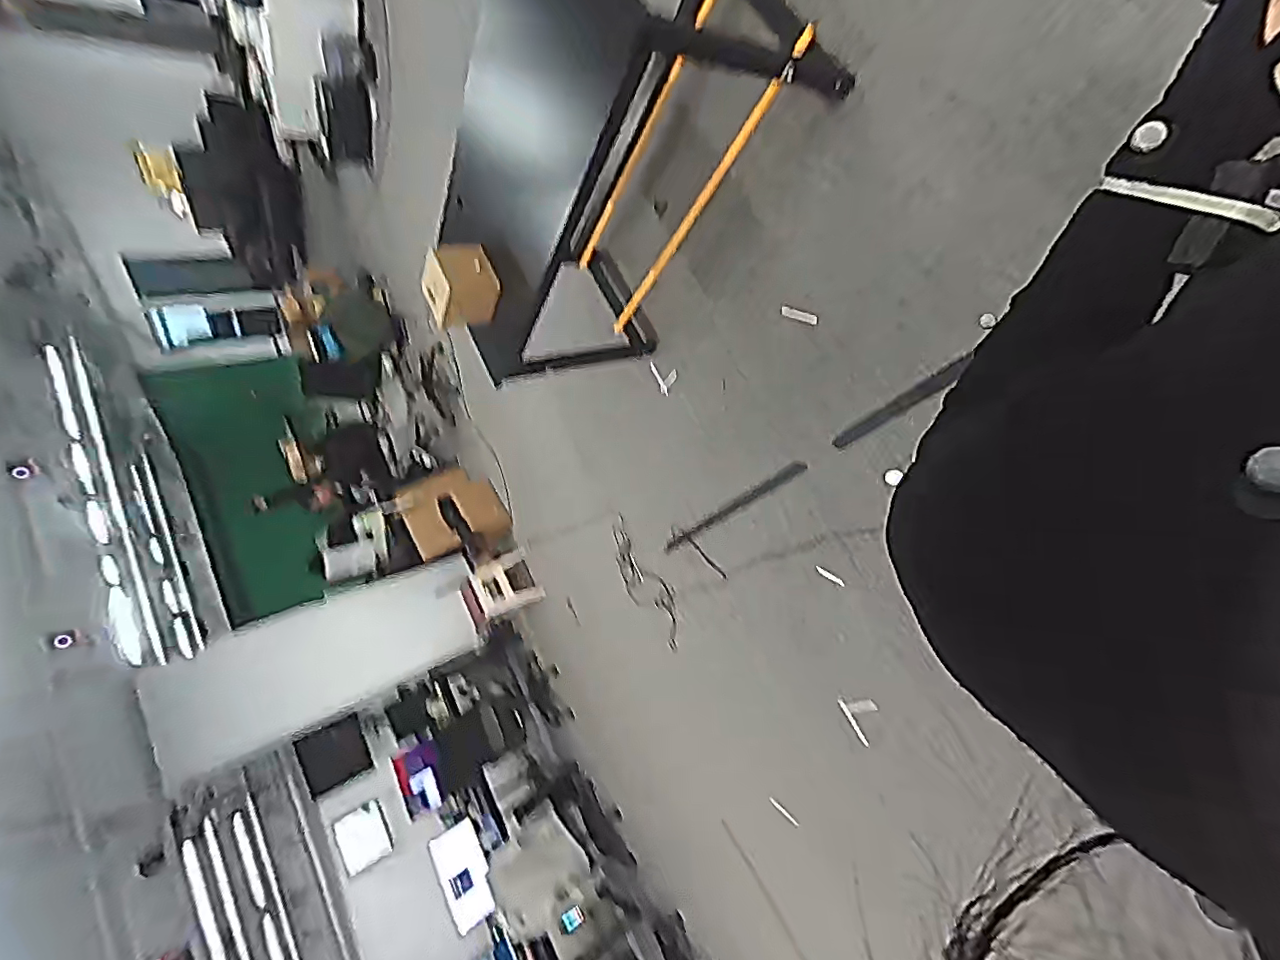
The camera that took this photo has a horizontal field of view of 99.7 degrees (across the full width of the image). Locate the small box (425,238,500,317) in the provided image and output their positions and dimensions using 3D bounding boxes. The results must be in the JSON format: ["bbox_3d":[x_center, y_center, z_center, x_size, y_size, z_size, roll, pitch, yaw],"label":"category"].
[{"bbox_3d":[-0.567,-0.646,1.731,0.168,0.176,0.179,62,143,12],"label":"small box"}]
